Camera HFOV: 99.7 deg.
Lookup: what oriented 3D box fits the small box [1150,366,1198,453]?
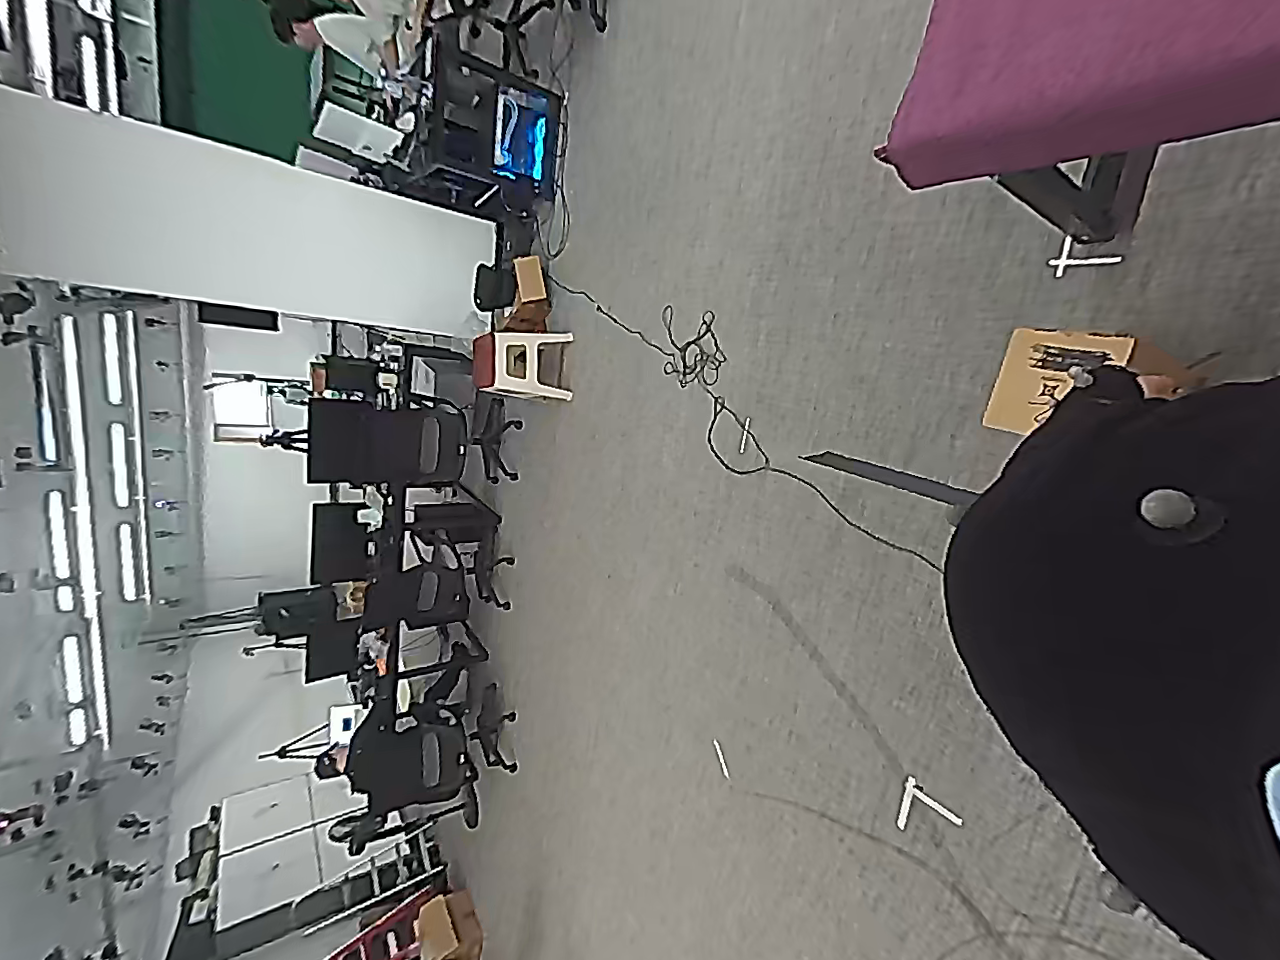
[{"bbox_3d":[0.999,-0.159,1.117,0.168,0.176,0.179,33,117,48],"label":"small box"}]

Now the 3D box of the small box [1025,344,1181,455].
[{"bbox_3d":[0.870,-0.150,1.015,0.168,0.176,0.179,26,112,51],"label":"small box"}]
